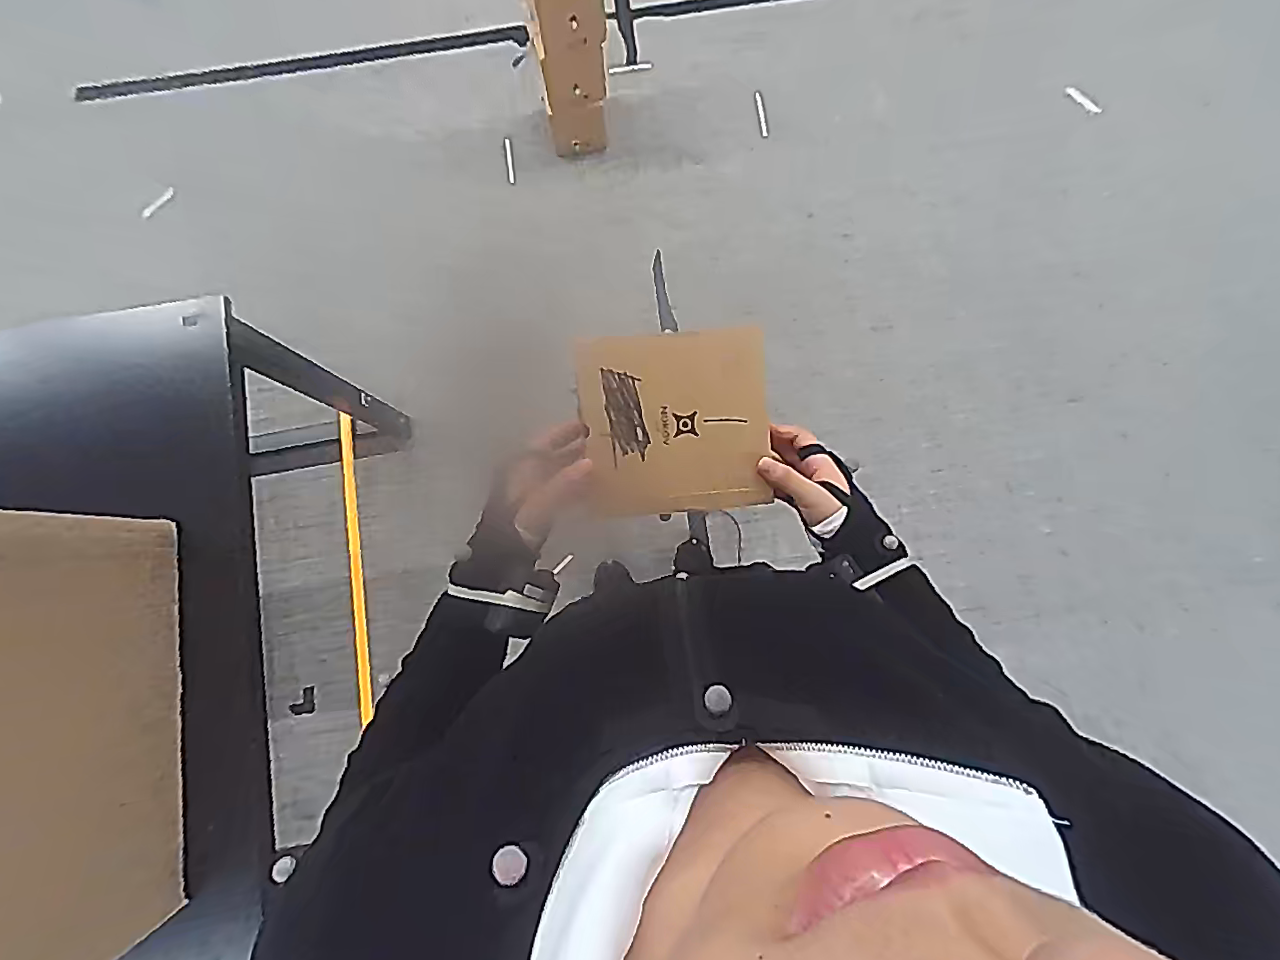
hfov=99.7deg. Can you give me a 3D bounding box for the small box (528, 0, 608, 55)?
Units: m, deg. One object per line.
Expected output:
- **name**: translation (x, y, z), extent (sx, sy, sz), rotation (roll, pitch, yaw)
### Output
- **small box**: translation (-0.182, -1.161, 1.286), extent (0.168, 0.176, 0.179), rotation (-19, 82, -1)

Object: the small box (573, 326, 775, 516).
- **small box**: translation (0.029, -0.059, 0.571), extent (0.179, 0.176, 0.168), rotation (-5, 95, -3)

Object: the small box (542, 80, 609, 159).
- **small box**: translation (-0.191, -1.105, 1.611), extent (0.168, 0.176, 0.179), rotation (-12, 83, 0)

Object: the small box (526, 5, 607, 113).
- **small box**: translation (-0.192, -1.140, 1.449), extent (0.168, 0.176, 0.179), rotation (-17, 82, 0)
